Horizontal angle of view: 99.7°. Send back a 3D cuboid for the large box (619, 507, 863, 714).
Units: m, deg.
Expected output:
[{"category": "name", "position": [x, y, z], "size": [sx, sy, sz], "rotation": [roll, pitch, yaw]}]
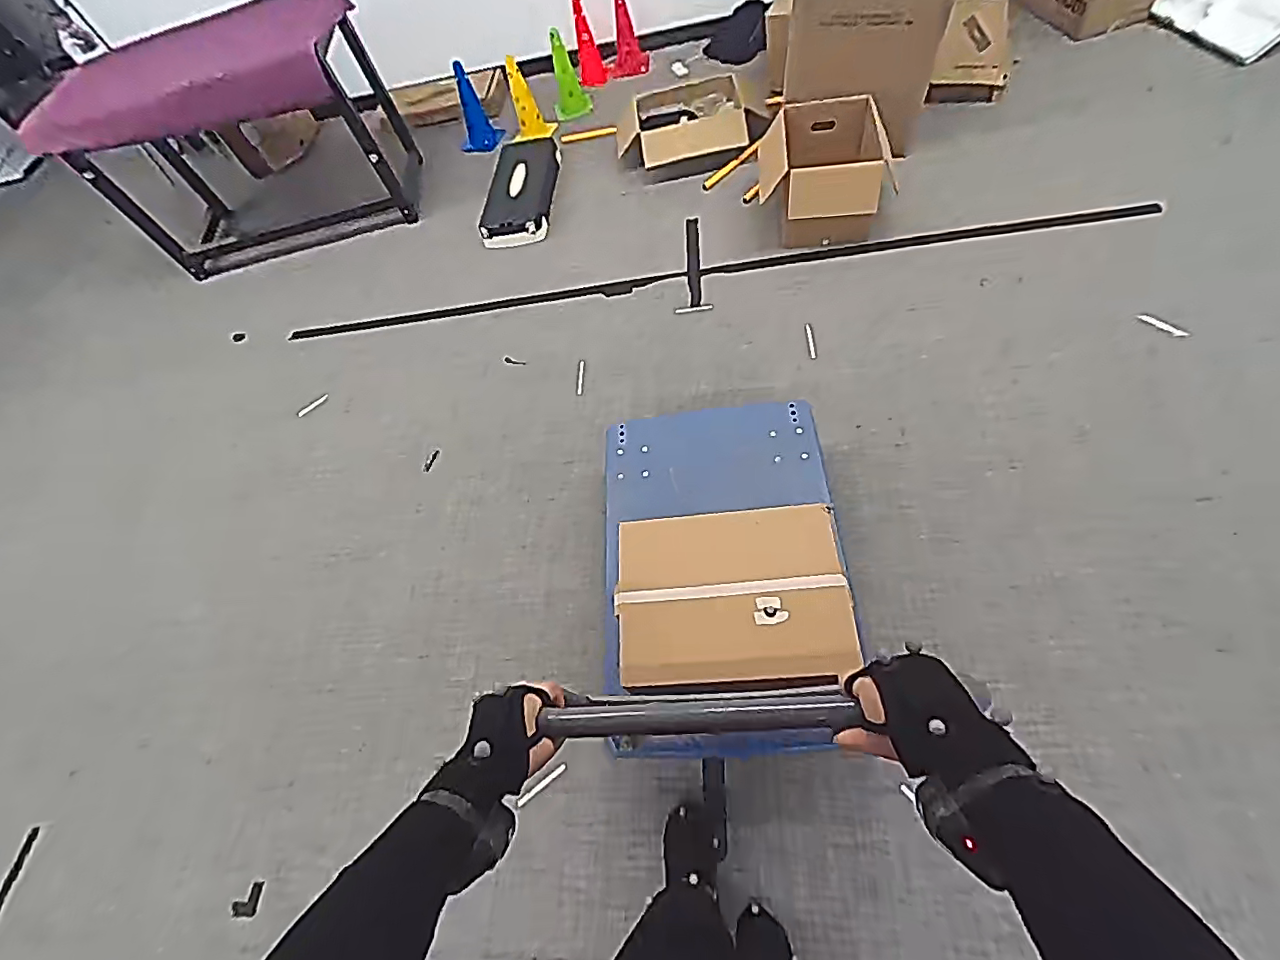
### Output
[{"category": "large box", "position": [0.181, 0.278, 1.094], "size": [0.408, 0.320, 0.320], "rotation": [-6, 60, 7]}]
